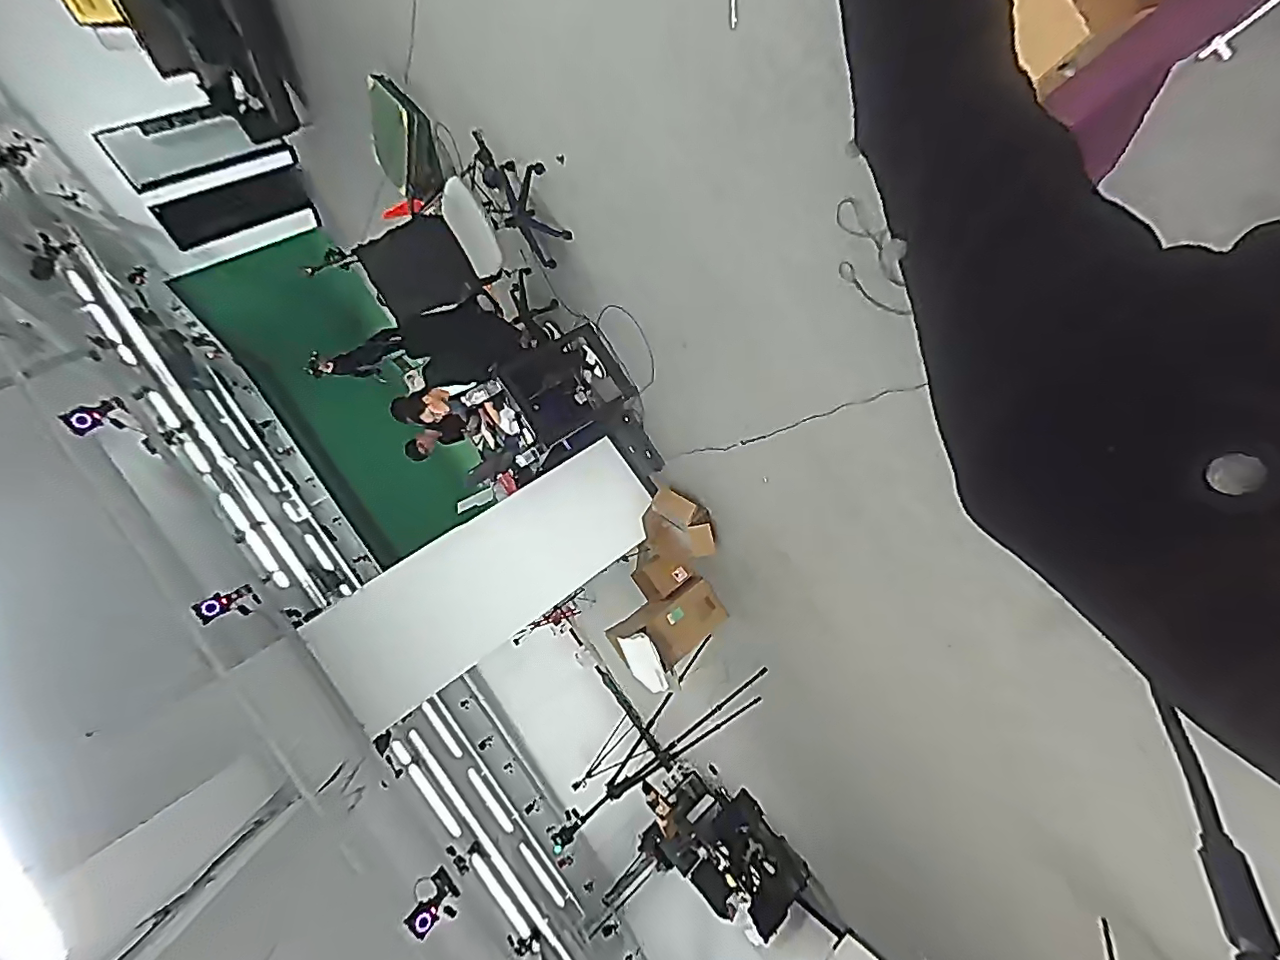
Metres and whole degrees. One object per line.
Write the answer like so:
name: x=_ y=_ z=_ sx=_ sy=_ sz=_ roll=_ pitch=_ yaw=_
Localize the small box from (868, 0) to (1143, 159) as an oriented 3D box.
small box: x=0.410 y=-0.516 z=0.615 sx=0.168 sy=0.176 sz=0.179 roll=56 pitch=157 yaw=-2
